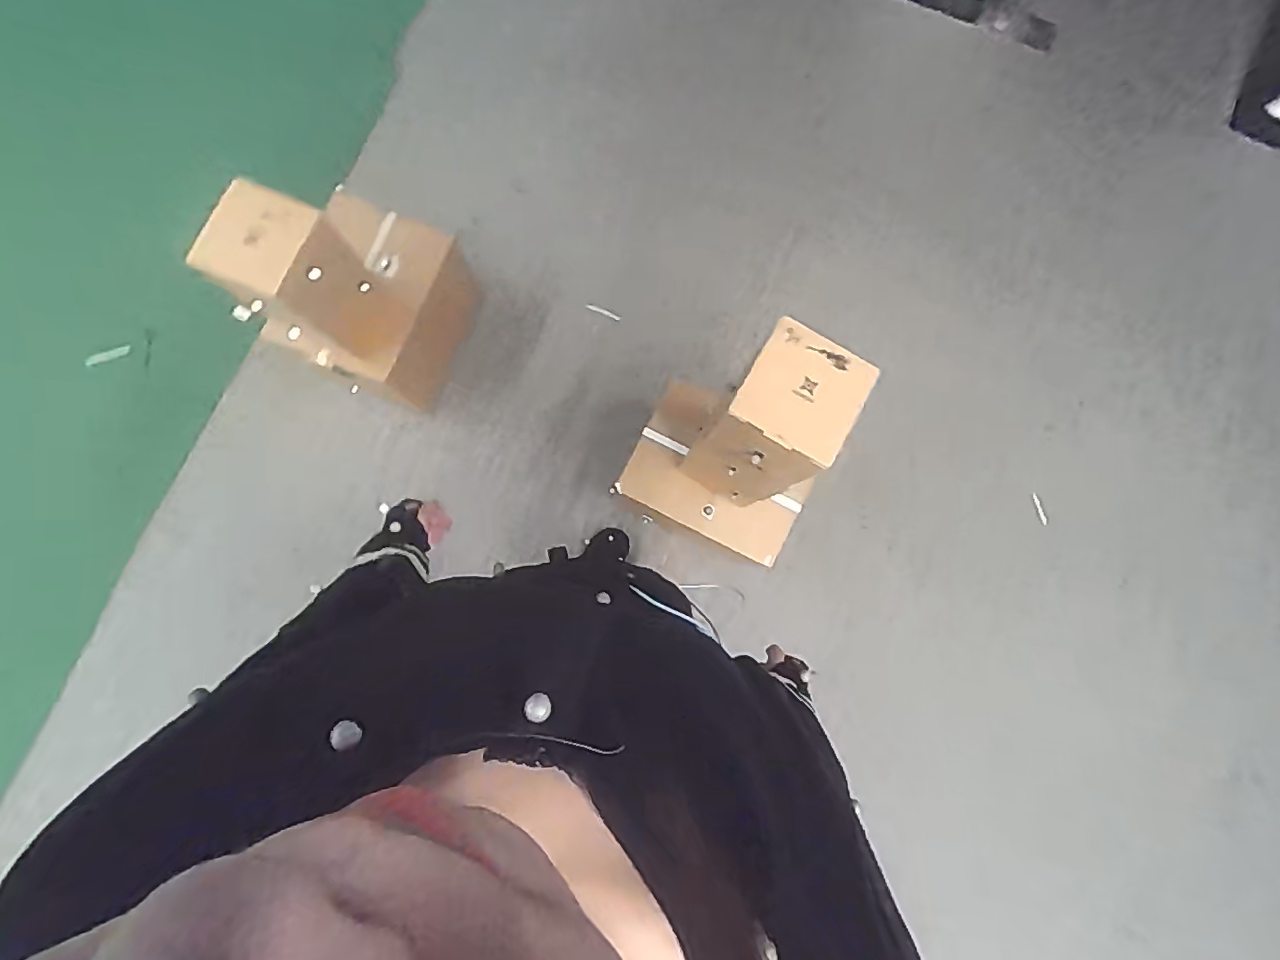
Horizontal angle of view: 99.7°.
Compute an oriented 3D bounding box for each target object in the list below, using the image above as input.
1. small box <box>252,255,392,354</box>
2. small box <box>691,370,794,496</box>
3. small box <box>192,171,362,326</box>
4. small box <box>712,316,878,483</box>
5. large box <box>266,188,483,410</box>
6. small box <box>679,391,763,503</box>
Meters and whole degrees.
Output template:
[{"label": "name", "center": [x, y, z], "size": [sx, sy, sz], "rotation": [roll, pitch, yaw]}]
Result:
[{"label": "small box", "center": [-0.672, -0.399, 1.168], "size": [0.168, 0.176, 0.179], "rotation": [24, 81, 0]}, {"label": "small box", "center": [0.217, -0.083, 1.009], "size": [0.179, 0.176, 0.168], "rotation": [33, 79, 2]}, {"label": "small box", "center": [-0.656, -0.416, 1.004], "size": [0.168, 0.176, 0.179], "rotation": [24, 81, 0]}, {"label": "small box", "center": [0.228, -0.113, 0.847], "size": [0.168, 0.176, 0.179], "rotation": [32, 80, 0]}, {"label": "large box", "center": [-0.663, -0.450, 1.422], "size": [0.320, 0.320, 0.408], "rotation": [22, 81, 0]}, {"label": "small box", "center": [0.205, -0.062, 1.172], "size": [0.179, 0.176, 0.168], "rotation": [32, 80, 2]}]
